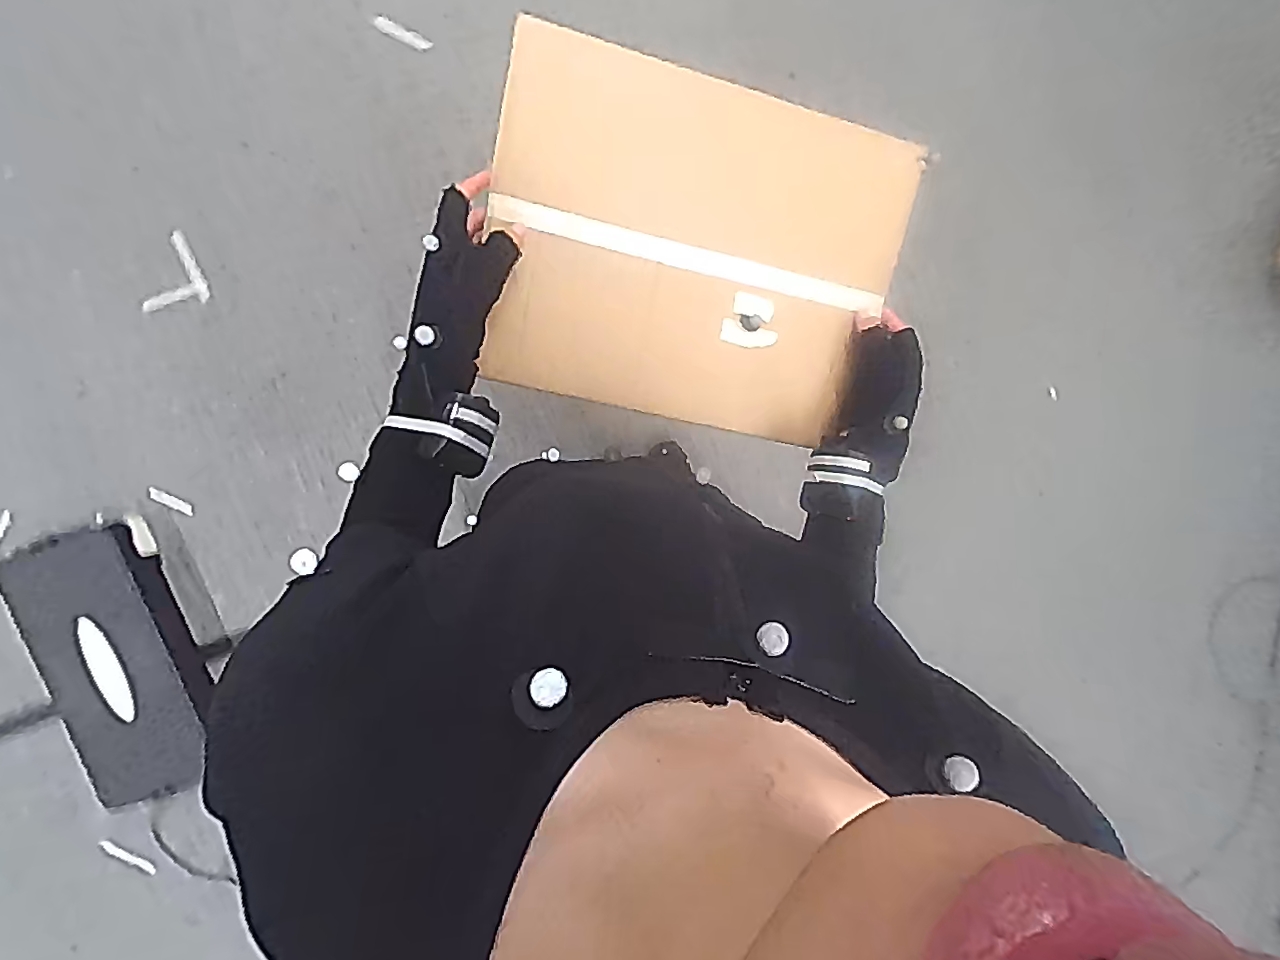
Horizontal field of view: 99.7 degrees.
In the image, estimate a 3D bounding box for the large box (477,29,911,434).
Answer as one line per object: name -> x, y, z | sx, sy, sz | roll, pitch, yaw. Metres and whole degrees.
large box -> 0.034, -0.257, 0.682 | 0.408, 0.320, 0.320 | 9, 102, -11
